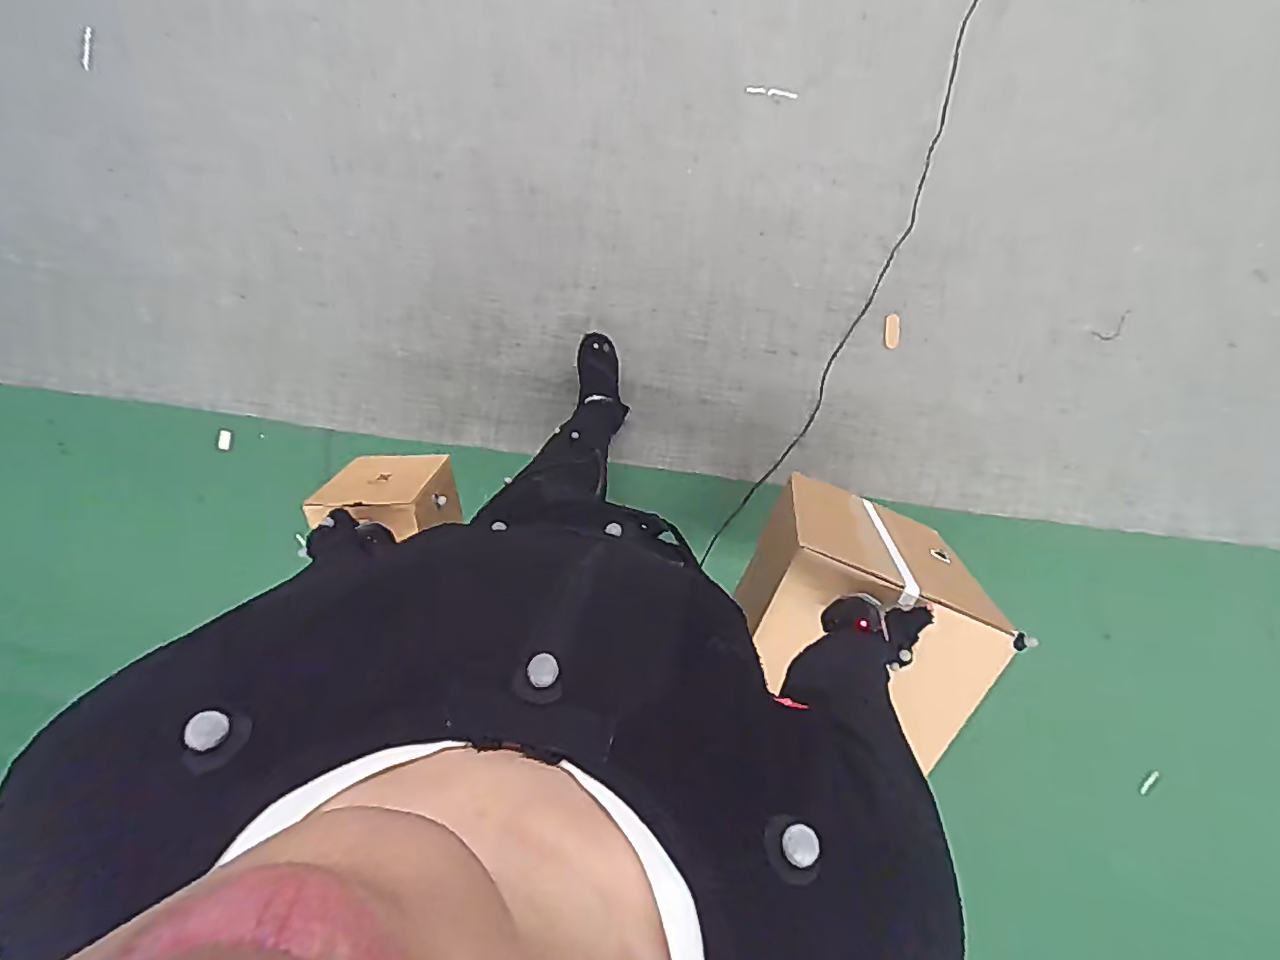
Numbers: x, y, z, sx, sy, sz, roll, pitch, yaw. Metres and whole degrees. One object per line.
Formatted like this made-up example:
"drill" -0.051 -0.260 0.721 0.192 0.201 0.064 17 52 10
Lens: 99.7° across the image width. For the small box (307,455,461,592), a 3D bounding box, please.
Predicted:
"small box" -0.414 0.069 0.912 0.168 0.179 0.176 -2 117 2
